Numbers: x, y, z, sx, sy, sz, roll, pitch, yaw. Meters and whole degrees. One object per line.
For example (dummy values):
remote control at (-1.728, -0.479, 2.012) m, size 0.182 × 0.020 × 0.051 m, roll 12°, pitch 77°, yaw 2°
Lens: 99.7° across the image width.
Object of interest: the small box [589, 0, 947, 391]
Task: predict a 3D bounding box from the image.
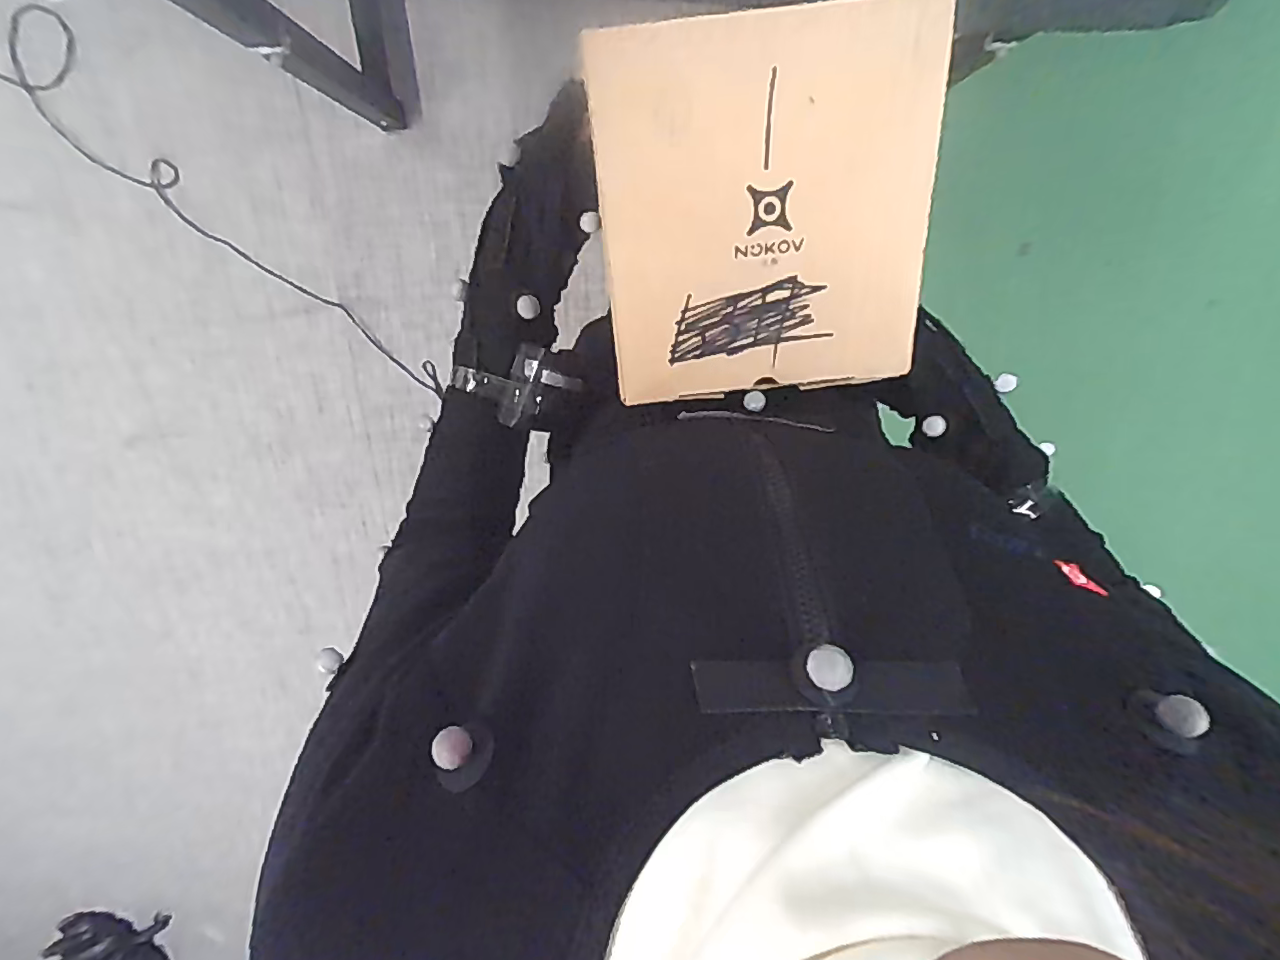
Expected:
small box at (0.061, -0.172, 0.353) m, size 0.168 × 0.176 × 0.179 m, roll -5°, pitch 117°, yaw 0°
